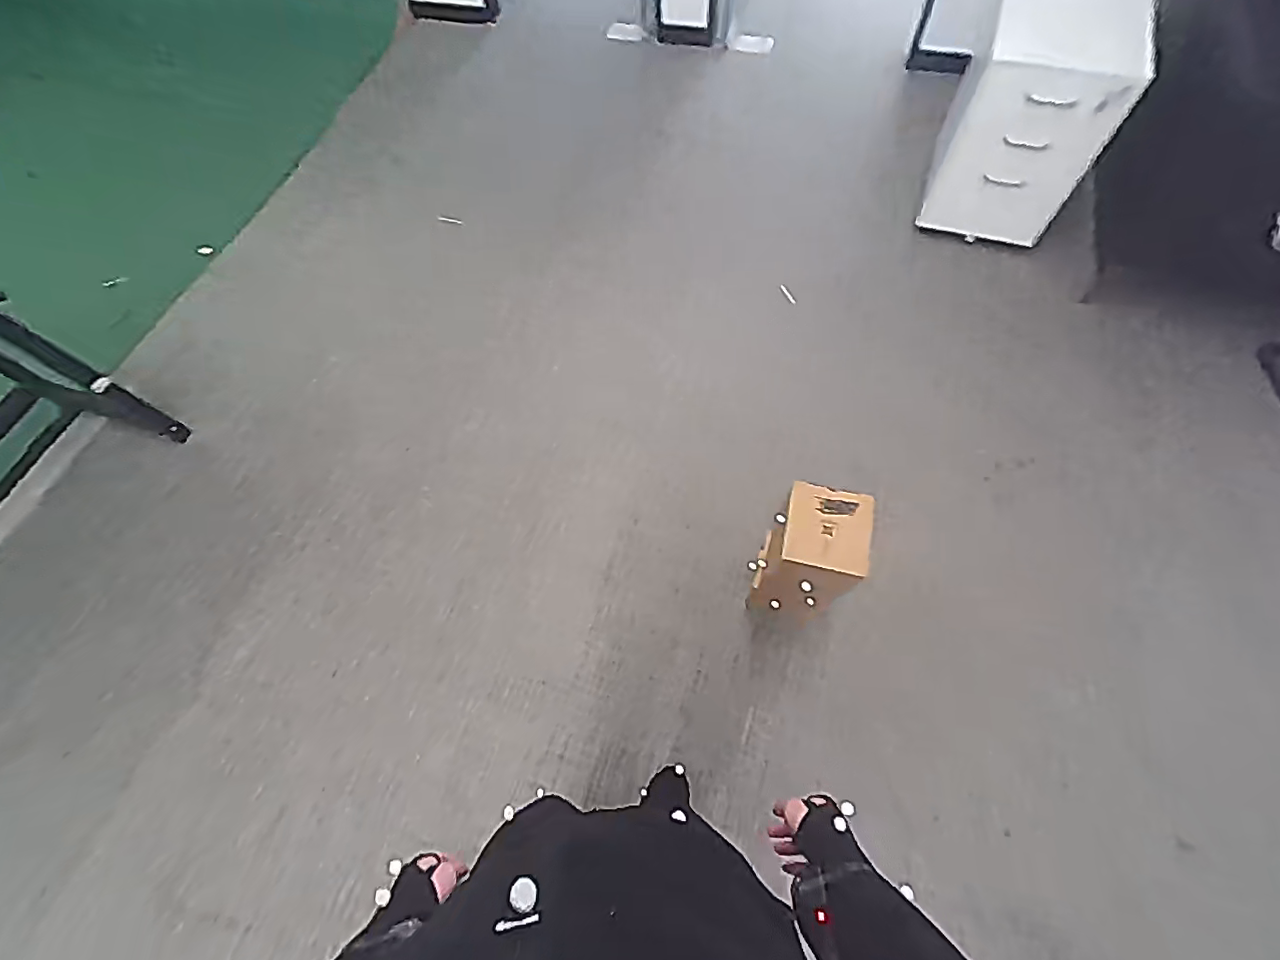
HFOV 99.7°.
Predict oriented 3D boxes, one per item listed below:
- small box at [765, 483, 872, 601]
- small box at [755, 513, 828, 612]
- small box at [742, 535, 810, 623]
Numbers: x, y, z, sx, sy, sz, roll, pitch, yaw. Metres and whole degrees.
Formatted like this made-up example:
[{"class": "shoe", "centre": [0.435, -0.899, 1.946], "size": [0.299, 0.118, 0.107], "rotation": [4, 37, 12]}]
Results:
[{"class": "small box", "centre": [0.371, 0.136, 1.147], "size": [0.168, 0.176, 0.179], "rotation": [15, 66, 10]}, {"class": "small box", "centre": [0.382, 0.201, 1.301], "size": [0.168, 0.176, 0.179], "rotation": [17, 65, 8]}, {"class": "small box", "centre": [0.385, 0.274, 1.467], "size": [0.179, 0.176, 0.168], "rotation": [15, 64, 9]}]
